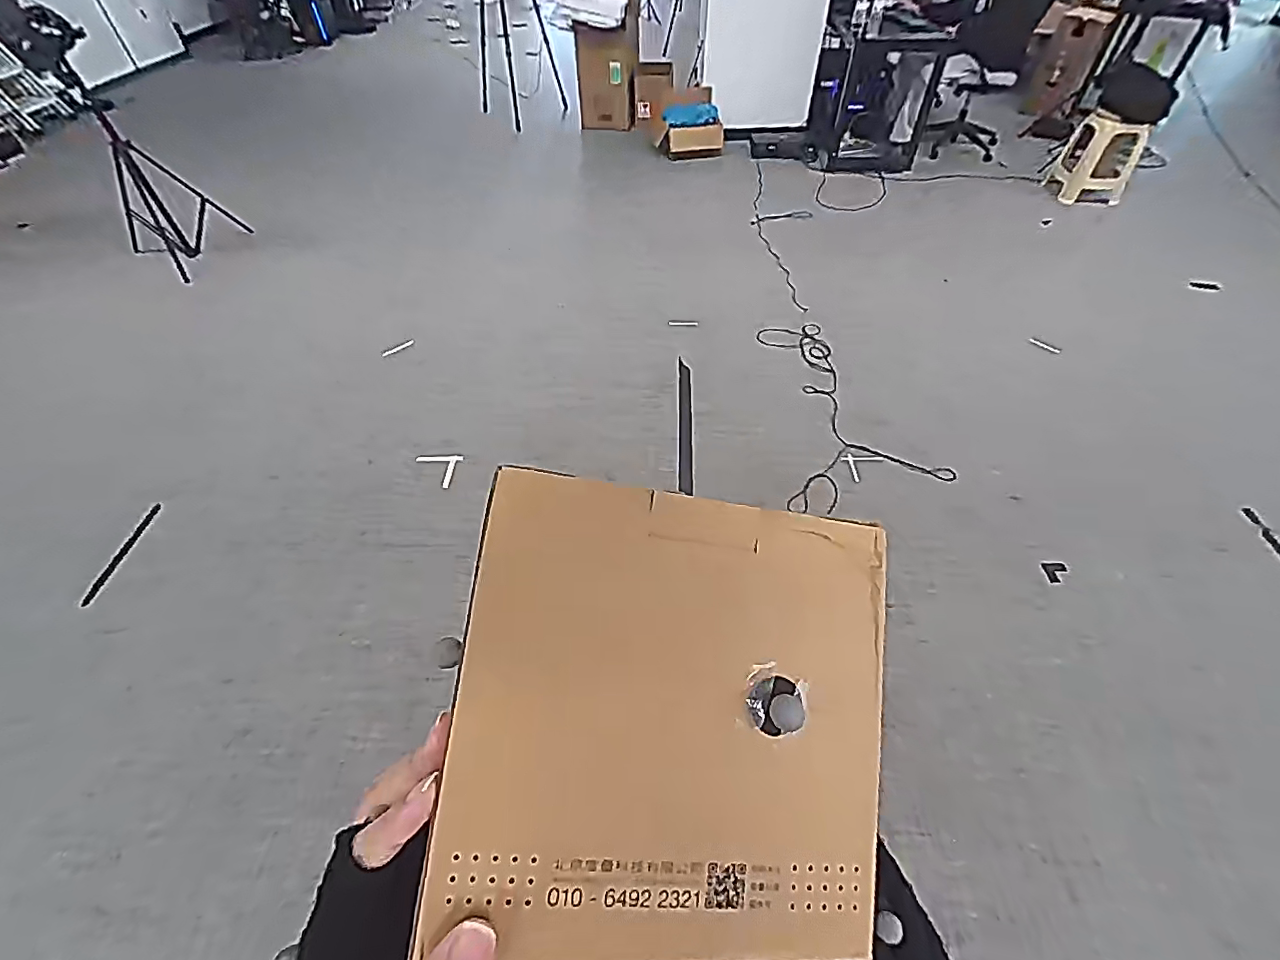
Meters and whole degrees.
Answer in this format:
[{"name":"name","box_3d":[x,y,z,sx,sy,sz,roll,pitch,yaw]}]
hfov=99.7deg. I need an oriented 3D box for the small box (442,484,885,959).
[{"name":"small box","box_3d":[0.003,0.106,0.284,0.168,0.179,0.176,9,79,-10]}]
